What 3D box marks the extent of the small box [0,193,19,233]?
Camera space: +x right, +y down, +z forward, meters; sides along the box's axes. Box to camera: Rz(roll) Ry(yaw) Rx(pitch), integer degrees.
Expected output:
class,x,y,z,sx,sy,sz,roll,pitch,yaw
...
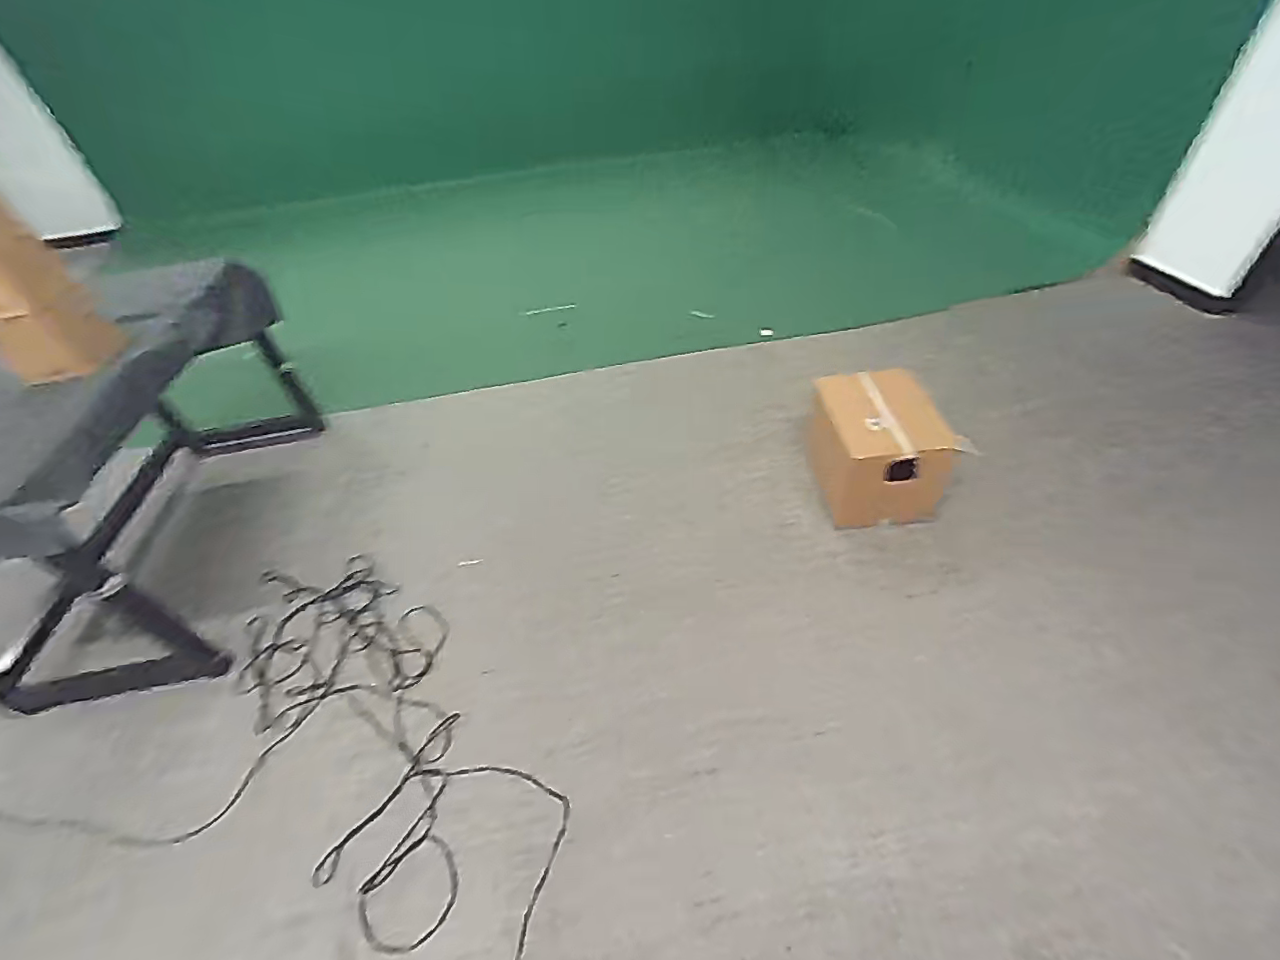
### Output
class,x,y,z,sx,sy,sz,roll,pitch,yaw
small box,-1.496,-0.587,1.136,0.168,0.176,0.179,-11,44,-1

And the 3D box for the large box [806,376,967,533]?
class,x,y,z,sx,sy,sz,roll,pitch,yaw
large box,0.759,-0.087,1.749,0.320,0.320,0.408,-6,45,2

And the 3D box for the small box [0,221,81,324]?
class,x,y,z,sx,sy,sz,roll,pitch,yaw
small box,-1.476,-0.472,1.249,0.168,0.176,0.179,-10,43,-2
